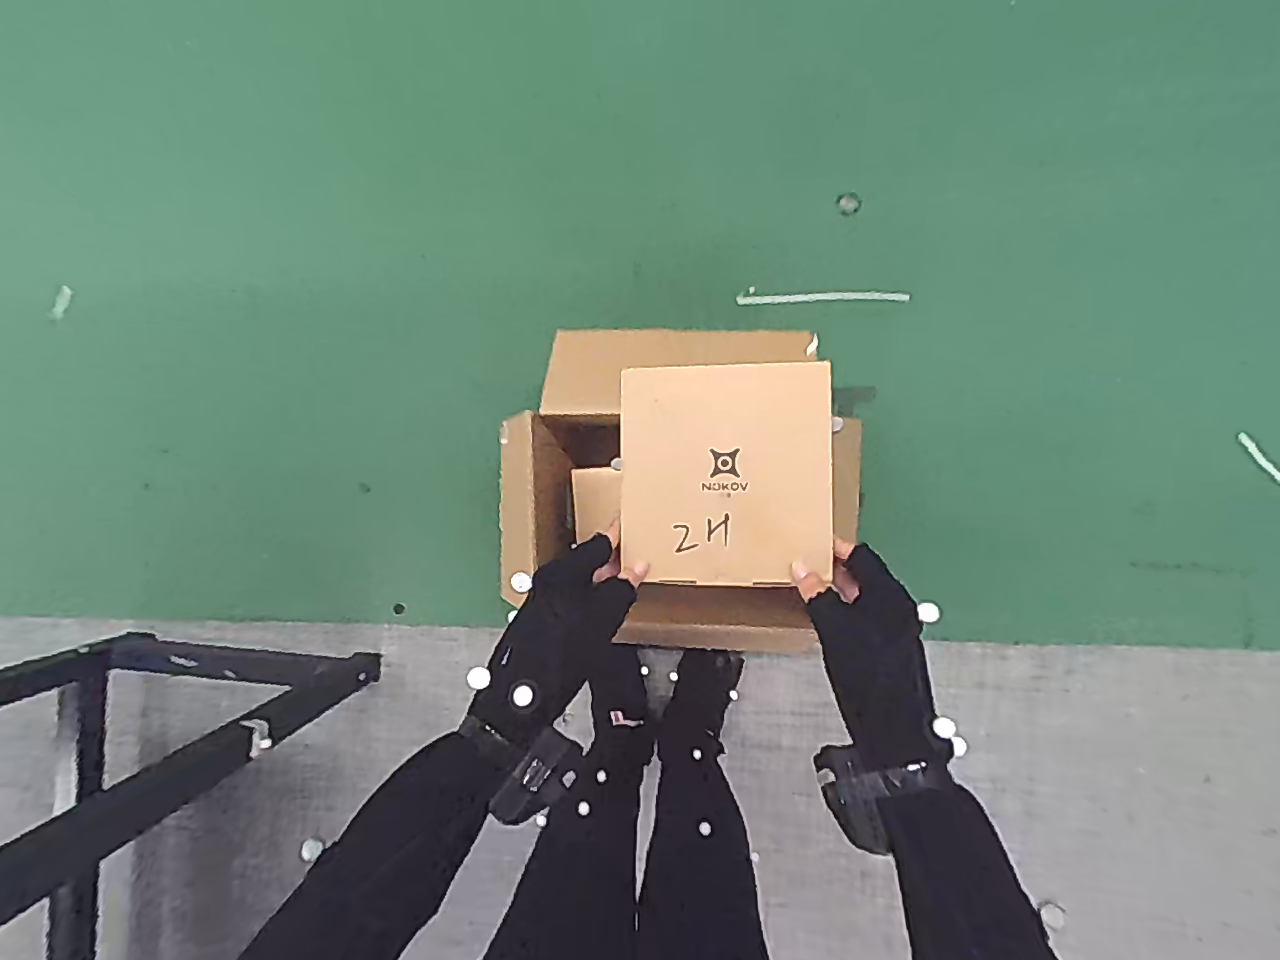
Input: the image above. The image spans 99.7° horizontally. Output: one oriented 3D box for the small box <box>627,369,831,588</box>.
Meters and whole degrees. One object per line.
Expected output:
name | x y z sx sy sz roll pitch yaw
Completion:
small box | 0.081 0.001 0.516 0.168 0.176 0.179 -1 89 9
